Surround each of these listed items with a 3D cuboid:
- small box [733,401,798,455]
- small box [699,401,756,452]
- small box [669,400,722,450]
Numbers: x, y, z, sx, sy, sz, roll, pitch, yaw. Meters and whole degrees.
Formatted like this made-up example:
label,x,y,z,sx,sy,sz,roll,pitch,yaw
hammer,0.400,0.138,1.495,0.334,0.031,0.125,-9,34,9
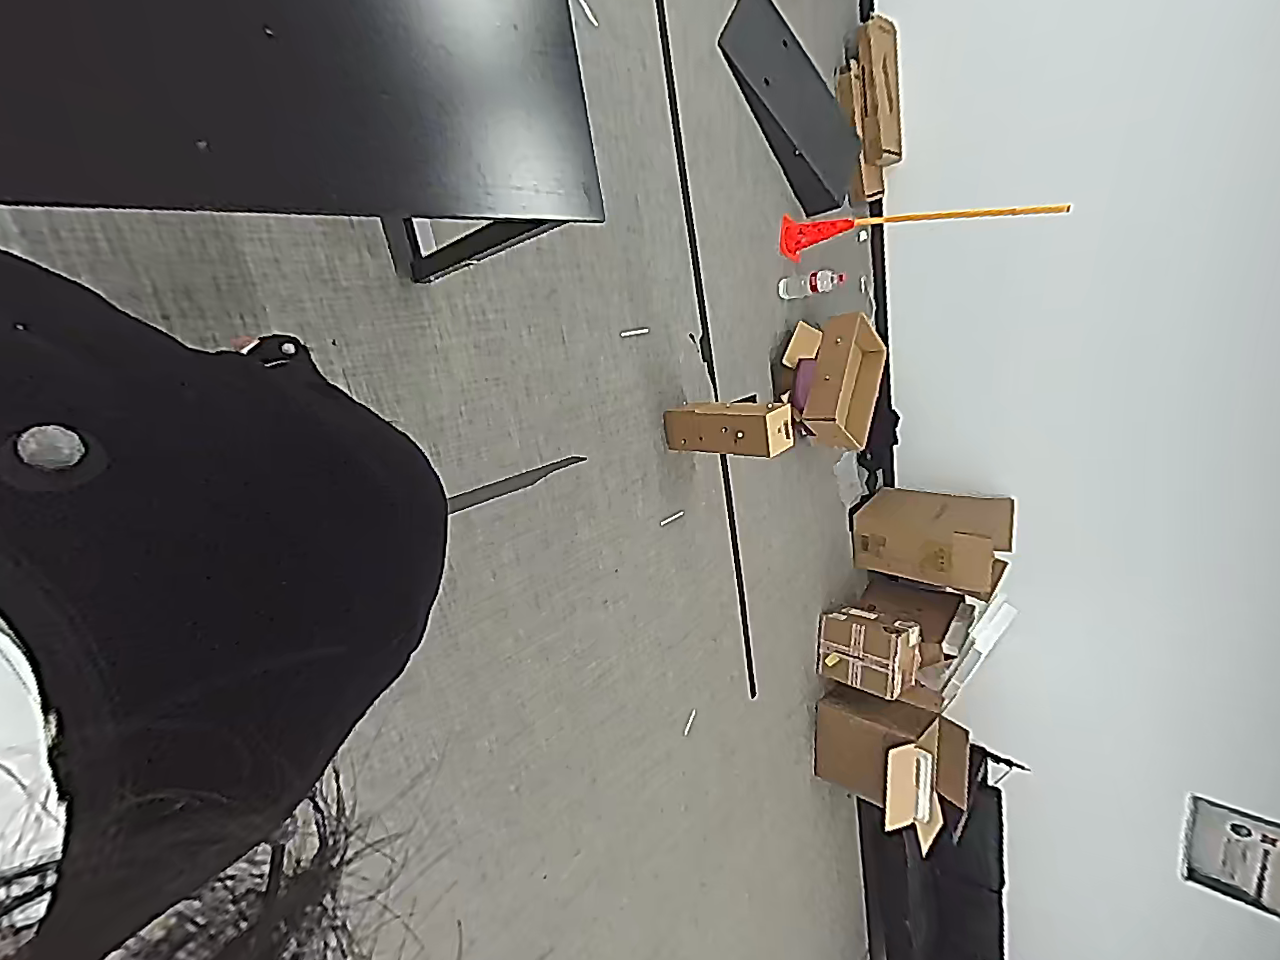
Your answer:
label,x,y,z,sx,sy,sz,roll,pitch,yaw
small box,0.475,-0.200,2.042,0.179,0.176,0.168,-26,113,-40
small box,0.357,-0.218,2.156,0.179,0.176,0.168,-27,113,-41
small box,0.242,-0.232,2.272,0.168,0.176,0.179,-25,110,-42
